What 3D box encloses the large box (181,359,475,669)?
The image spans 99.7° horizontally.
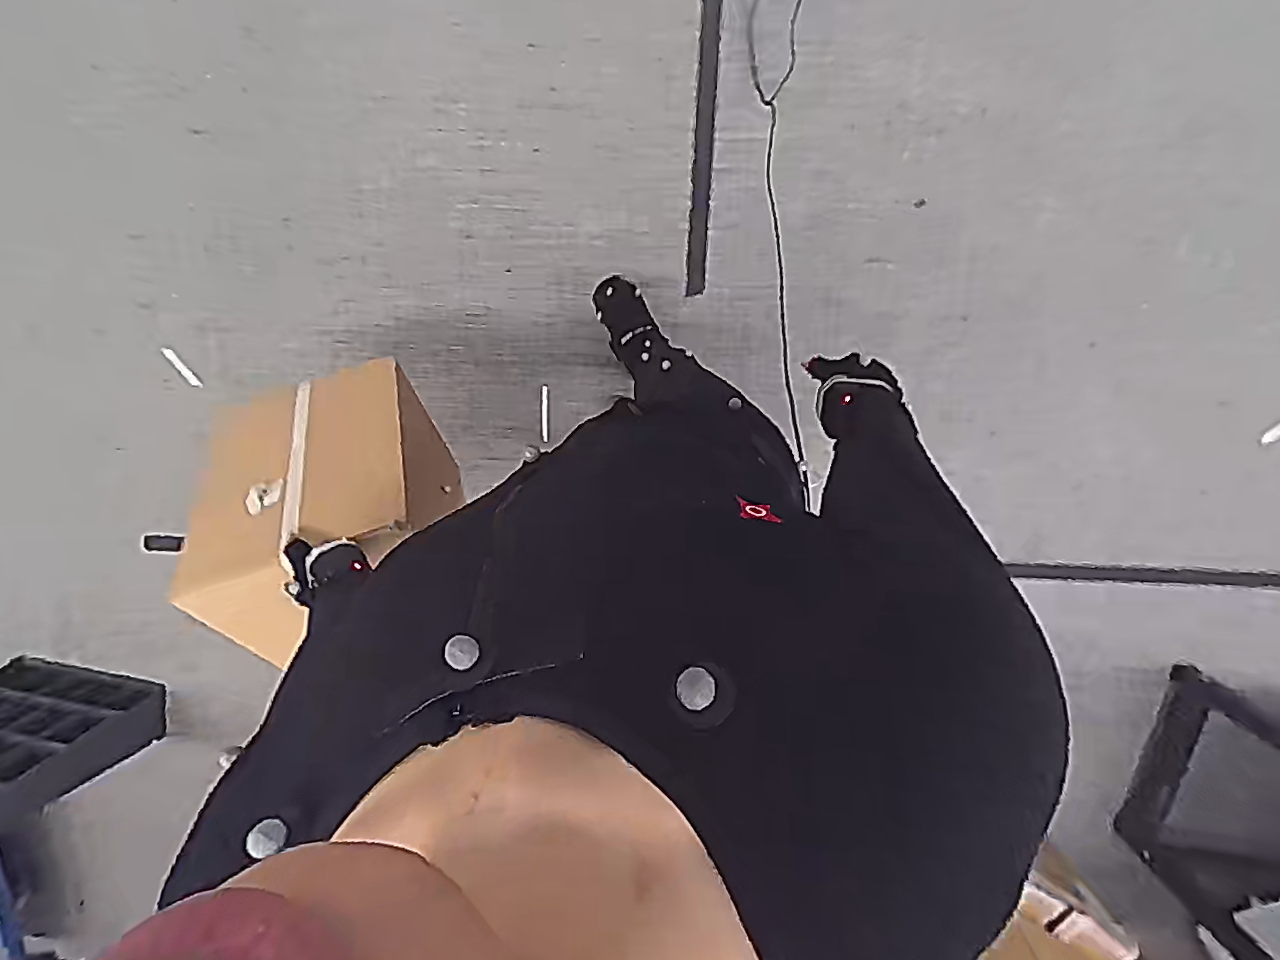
[{"bbox_3d":[-0.515,0.053,0.966,0.320,0.408,0.320,-18,142,-8],"label":"large box"}]
